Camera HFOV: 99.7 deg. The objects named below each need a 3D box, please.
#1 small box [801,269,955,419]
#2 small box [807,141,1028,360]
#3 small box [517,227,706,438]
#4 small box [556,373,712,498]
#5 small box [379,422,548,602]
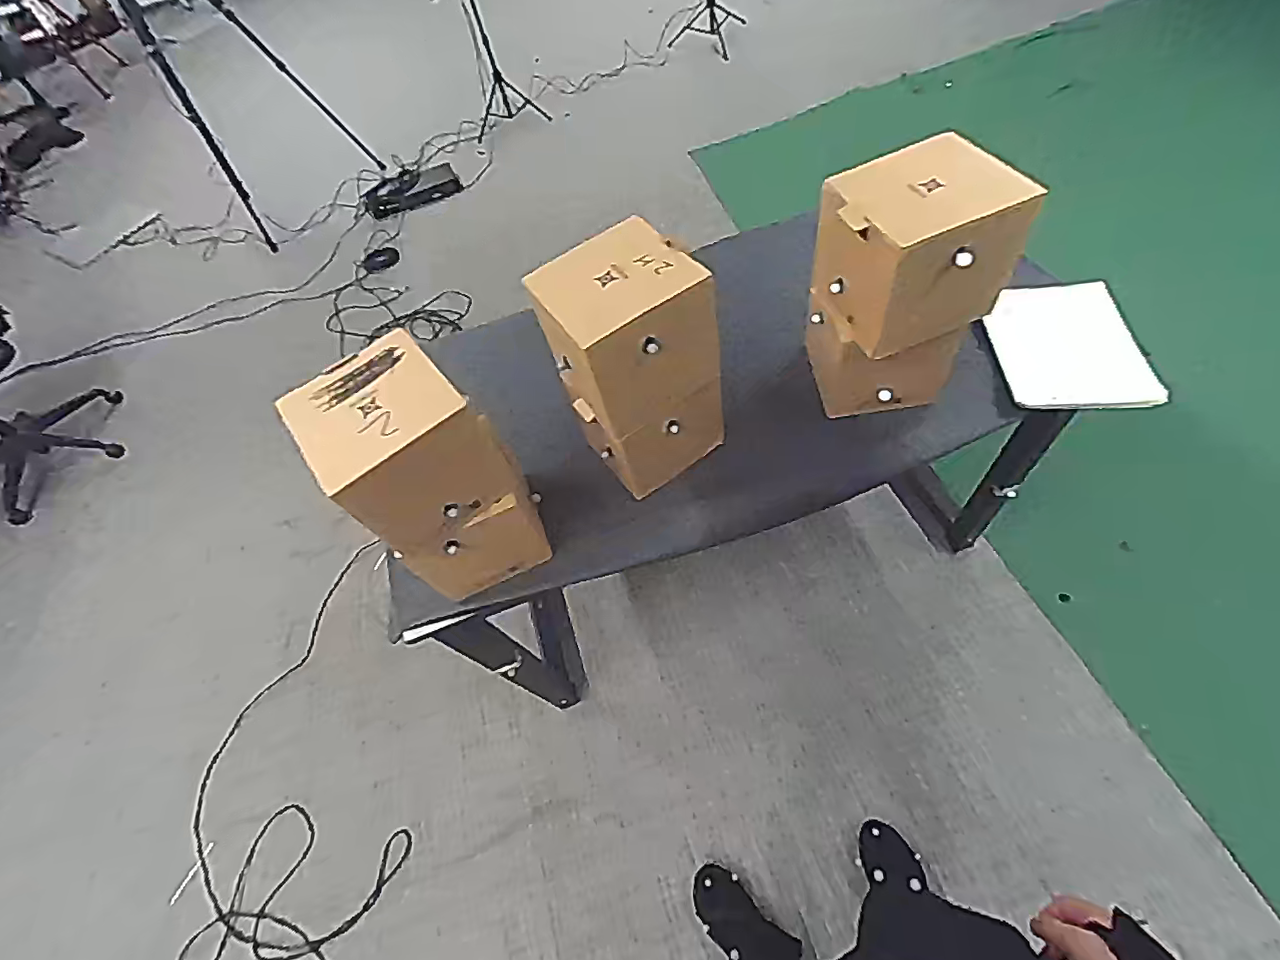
[{"bbox_3d":[0.353,-0.221,0.846,0.168,0.176,0.179,-8,57,8],"label":"small box"},{"bbox_3d":[0.335,-0.289,0.697,0.179,0.176,0.168,-22,56,-1],"label":"small box"},{"bbox_3d":[-0.028,-0.188,0.711,0.179,0.176,0.168,-33,58,-9],"label":"small box"},{"bbox_3d":[0.000,-0.103,0.850,0.179,0.176,0.168,-35,58,-11],"label":"small box"},{"bbox_3d":[-0.257,0.052,0.804,0.168,0.176,0.179,-25,57,-5],"label":"small box"}]
